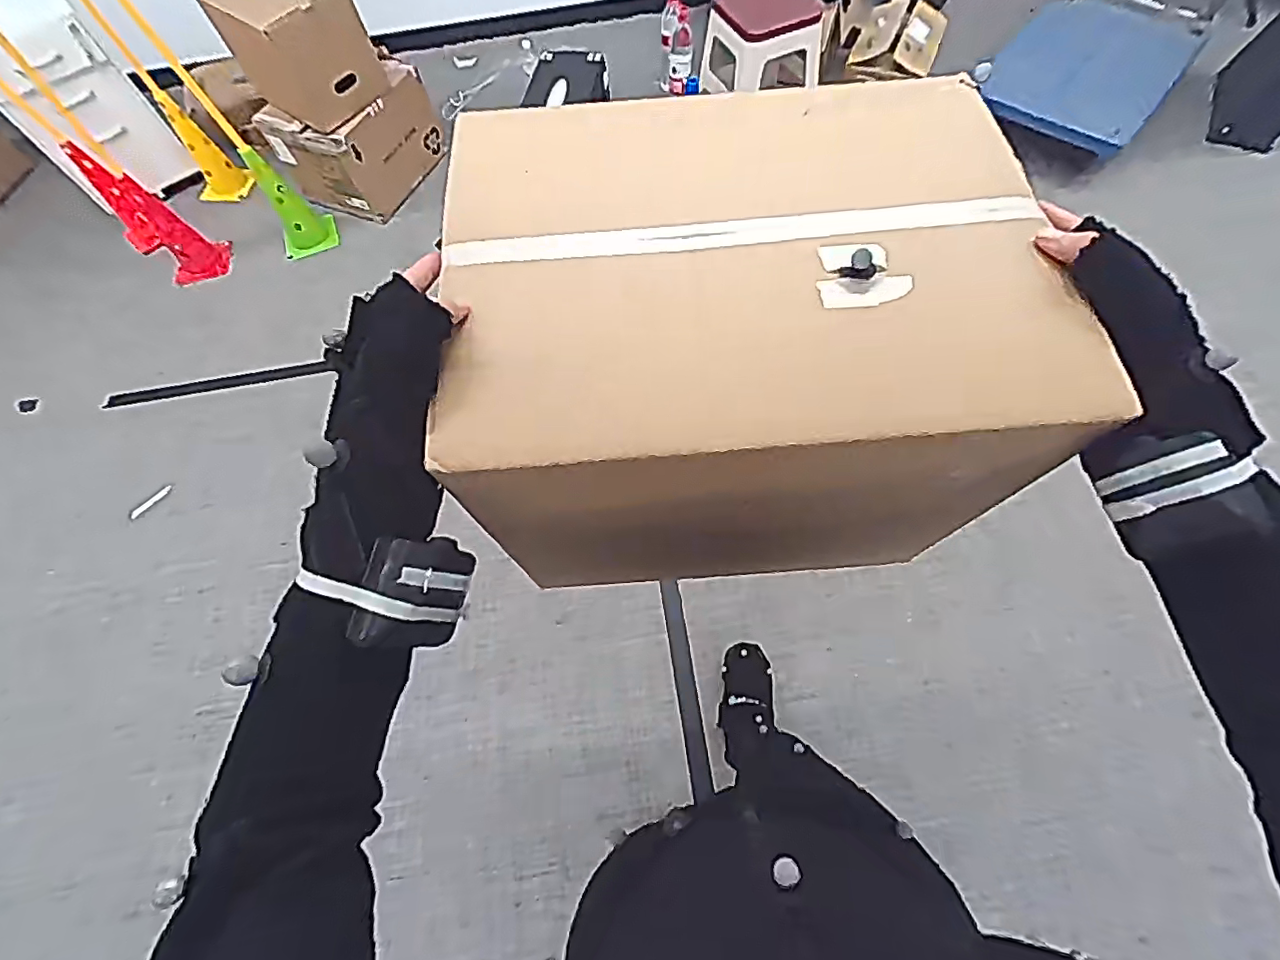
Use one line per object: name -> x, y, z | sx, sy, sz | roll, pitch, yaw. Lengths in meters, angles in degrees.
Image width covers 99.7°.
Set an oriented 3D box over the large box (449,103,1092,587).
large box -> 0.070, -0.099, 0.523 | 0.408, 0.320, 0.320 | -5, 66, 0
